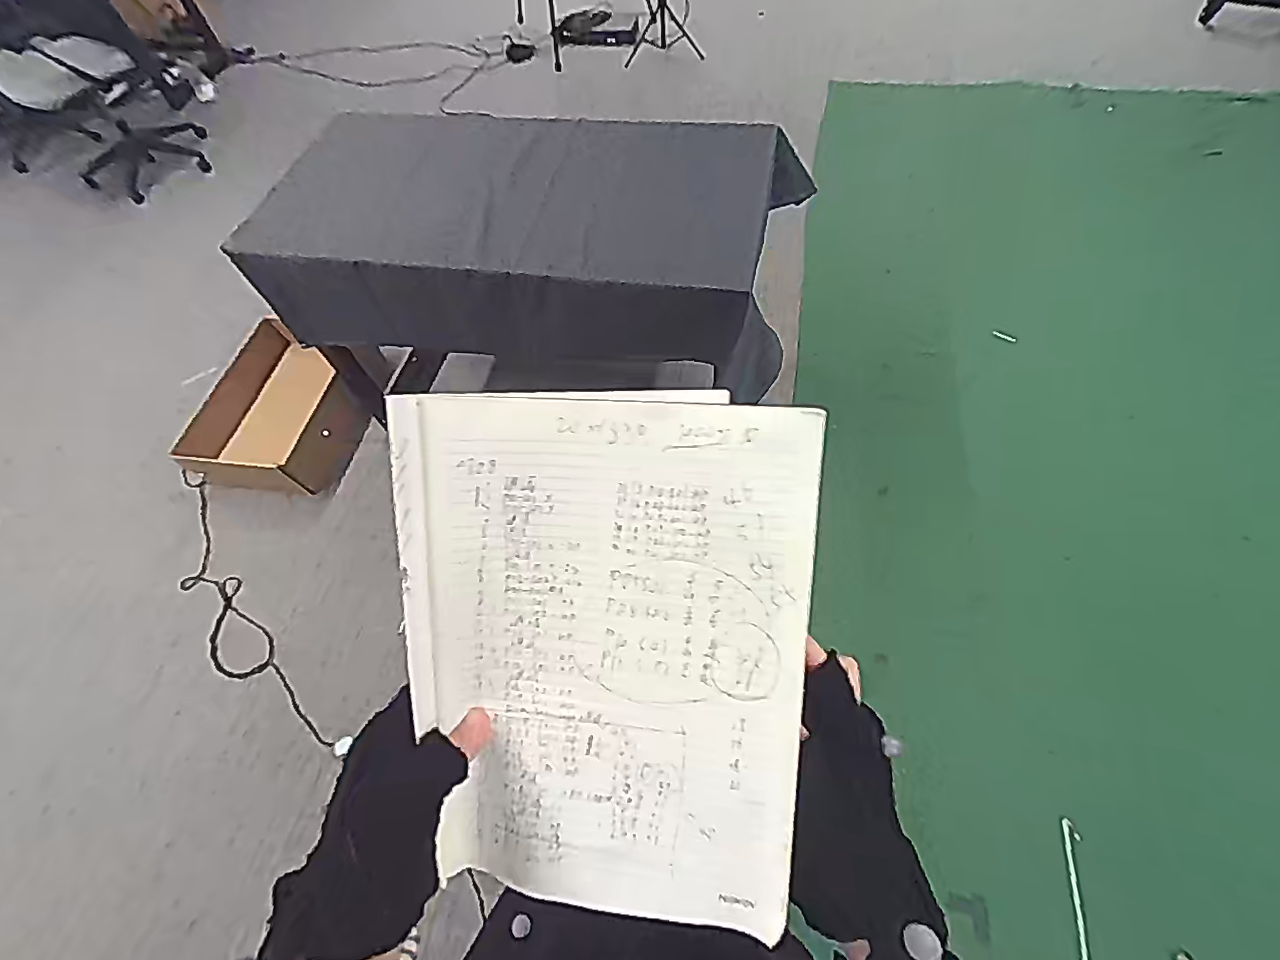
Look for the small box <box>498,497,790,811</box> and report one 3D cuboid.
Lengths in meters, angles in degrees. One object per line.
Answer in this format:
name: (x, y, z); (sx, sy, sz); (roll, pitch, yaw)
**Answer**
small box: (0.006, 0.117, 0.396); (0.168, 0.176, 0.179); (-4, 77, 6)
